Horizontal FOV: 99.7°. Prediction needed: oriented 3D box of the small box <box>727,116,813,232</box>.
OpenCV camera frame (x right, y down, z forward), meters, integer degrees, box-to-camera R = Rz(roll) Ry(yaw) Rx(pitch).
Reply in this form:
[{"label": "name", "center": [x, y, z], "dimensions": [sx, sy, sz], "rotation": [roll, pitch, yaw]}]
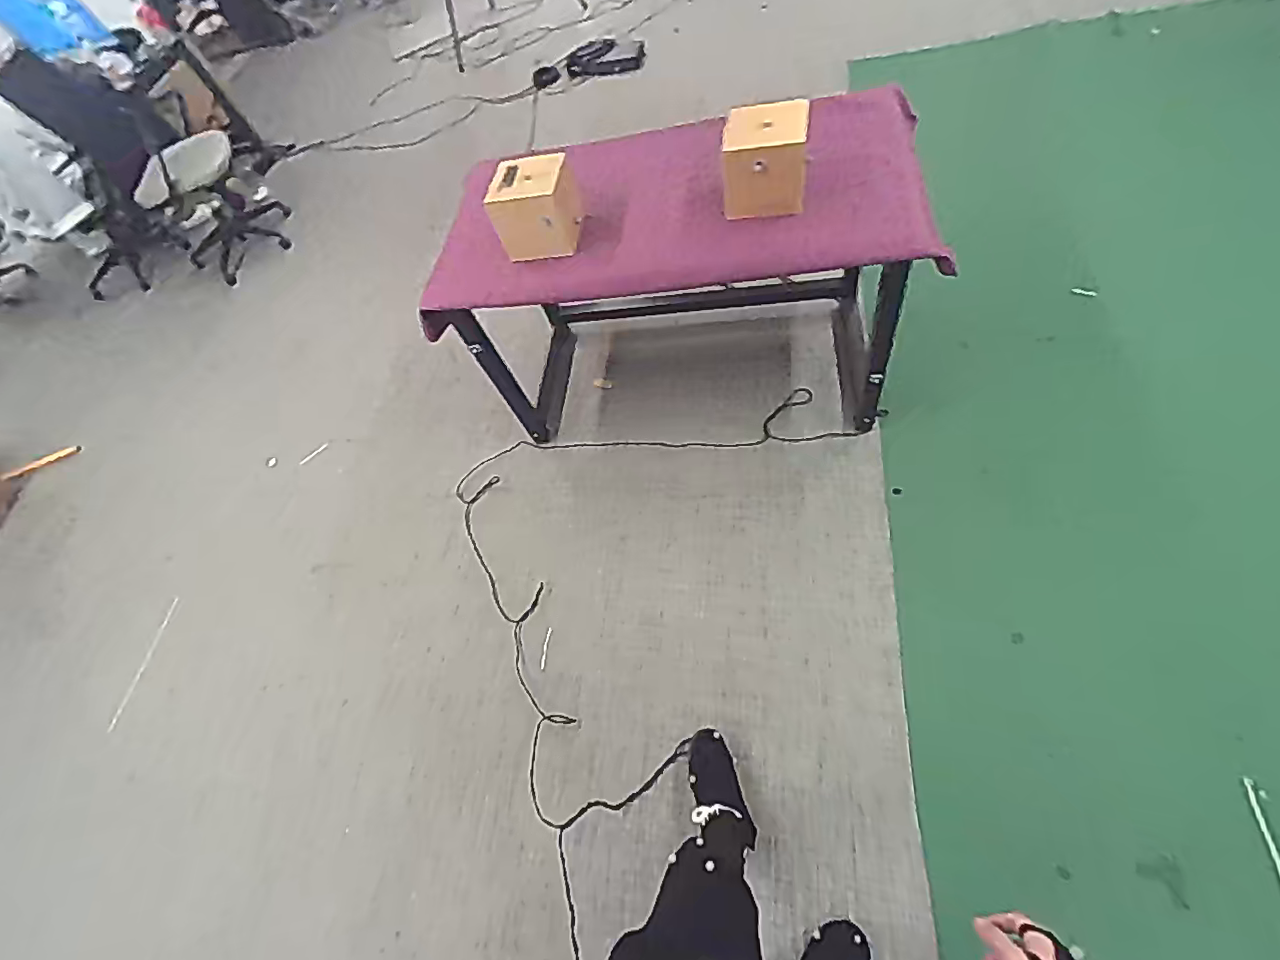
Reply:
[{"label": "small box", "center": [0.304, -0.704, 1.259], "dimensions": [0.179, 0.176, 0.168], "rotation": [3, 61, 17]}]
